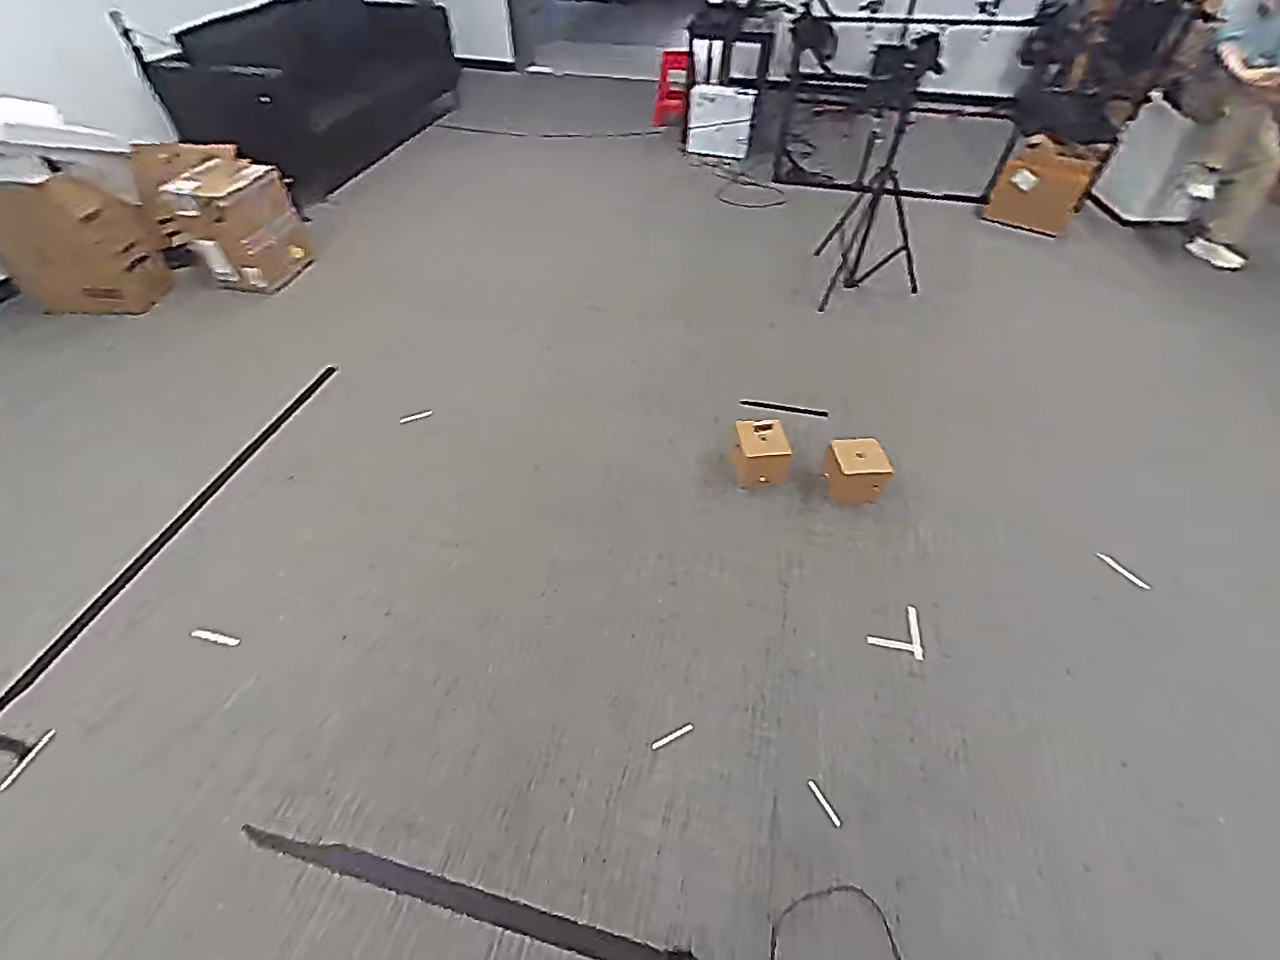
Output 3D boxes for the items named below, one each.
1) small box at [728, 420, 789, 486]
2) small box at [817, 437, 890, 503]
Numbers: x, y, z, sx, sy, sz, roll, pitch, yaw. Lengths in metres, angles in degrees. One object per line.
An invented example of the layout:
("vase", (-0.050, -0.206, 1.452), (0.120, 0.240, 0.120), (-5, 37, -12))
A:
("small box", (0.430, -0.098, 1.995), (0.168, 0.176, 0.179), (-5, 50, -4))
("small box", (0.760, -0.035, 1.944), (0.179, 0.176, 0.168), (-5, 48, -4))
